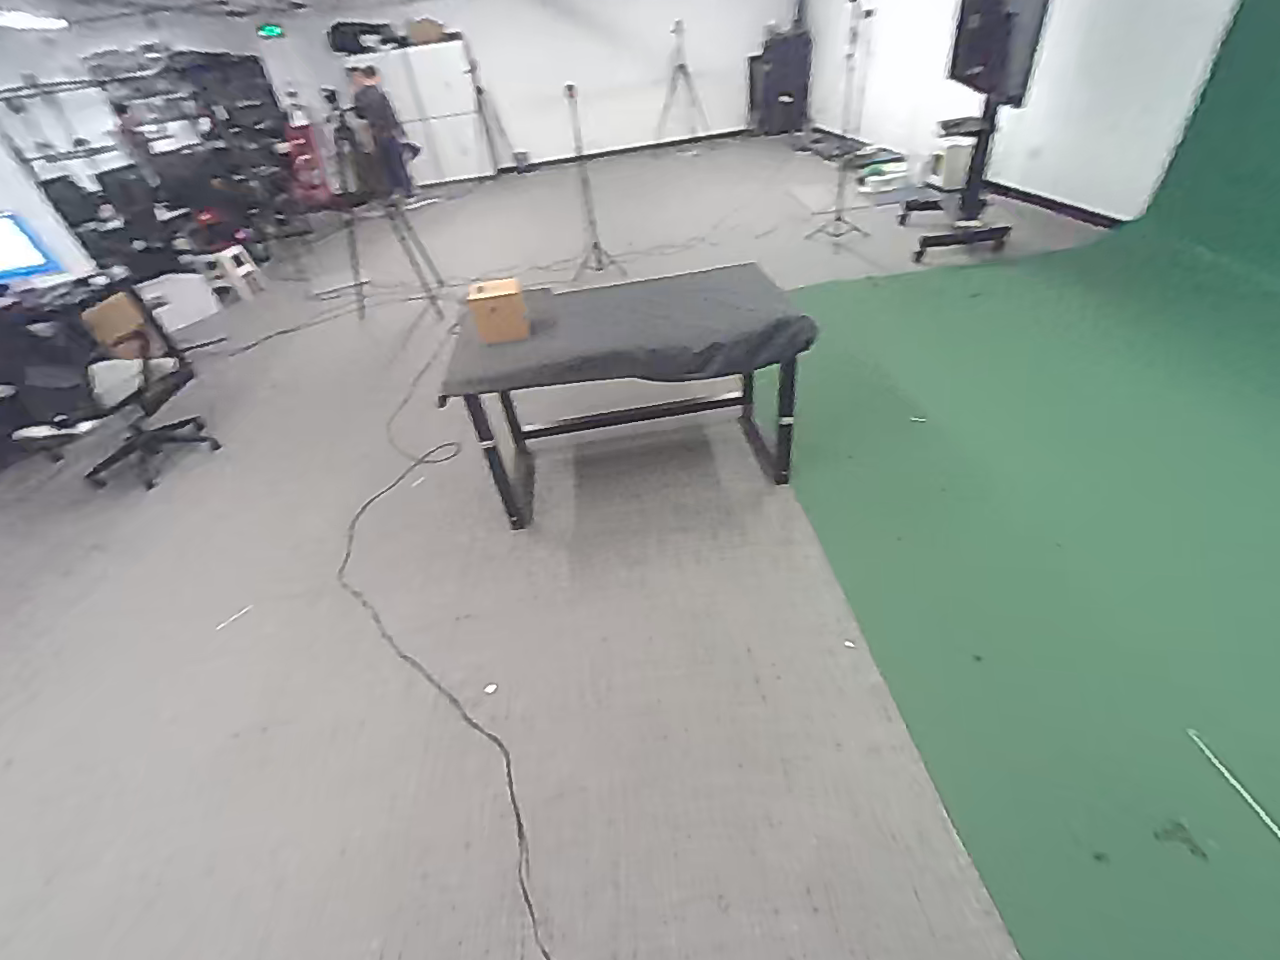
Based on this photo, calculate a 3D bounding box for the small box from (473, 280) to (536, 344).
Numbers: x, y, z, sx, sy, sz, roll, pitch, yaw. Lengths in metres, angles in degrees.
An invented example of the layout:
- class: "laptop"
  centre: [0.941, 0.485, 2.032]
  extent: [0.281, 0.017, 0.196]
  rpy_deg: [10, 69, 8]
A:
- class: "small box"
  centre: [-0.483, -0.603, 1.949]
  extent: [0.179, 0.176, 0.168]
  rpy_deg: [-9, 39, -3]
